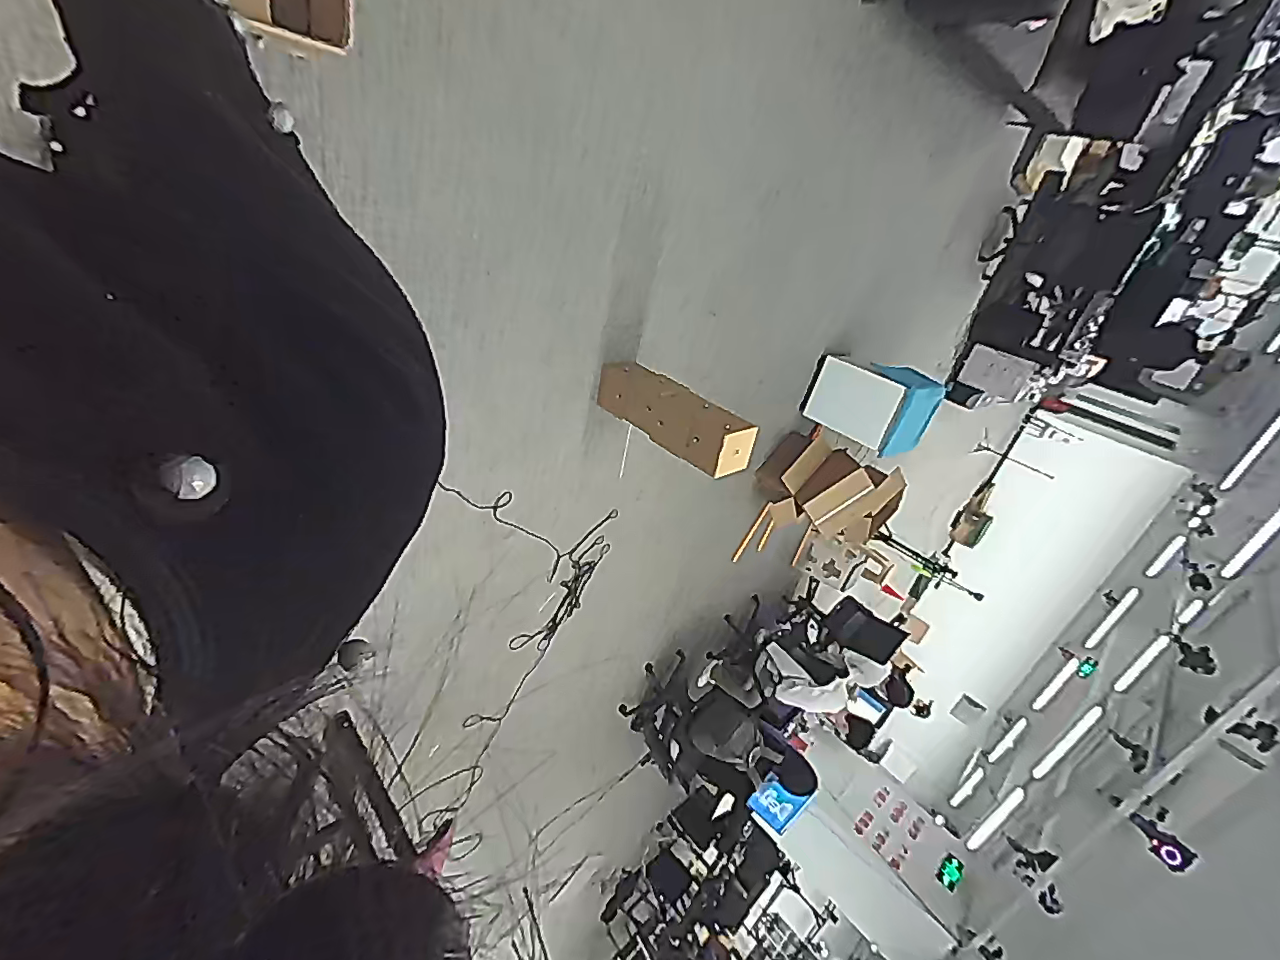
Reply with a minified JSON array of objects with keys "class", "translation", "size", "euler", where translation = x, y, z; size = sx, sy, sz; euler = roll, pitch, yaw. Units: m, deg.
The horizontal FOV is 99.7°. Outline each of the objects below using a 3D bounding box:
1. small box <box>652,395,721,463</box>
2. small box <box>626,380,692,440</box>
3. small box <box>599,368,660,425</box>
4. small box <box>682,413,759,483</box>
[{"class":"small box","translation":[0.164,-0.188,1.942],"size":[0.168,0.176,0.179],"euler":[-18,131,-40]},{"class":"small box","translation":[0.066,-0.271,2.045],"size":[0.168,0.176,0.179],"euler":[-15,128,-41]},{"class":"small box","translation":[-0.045,-0.338,2.144],"size":[0.168,0.176,0.179],"euler":[-16,130,-41]},{"class":"small box","translation":[0.271,-0.116,1.842],"size":[0.179,0.176,0.168],"euler":[-17,129,-39]}]
